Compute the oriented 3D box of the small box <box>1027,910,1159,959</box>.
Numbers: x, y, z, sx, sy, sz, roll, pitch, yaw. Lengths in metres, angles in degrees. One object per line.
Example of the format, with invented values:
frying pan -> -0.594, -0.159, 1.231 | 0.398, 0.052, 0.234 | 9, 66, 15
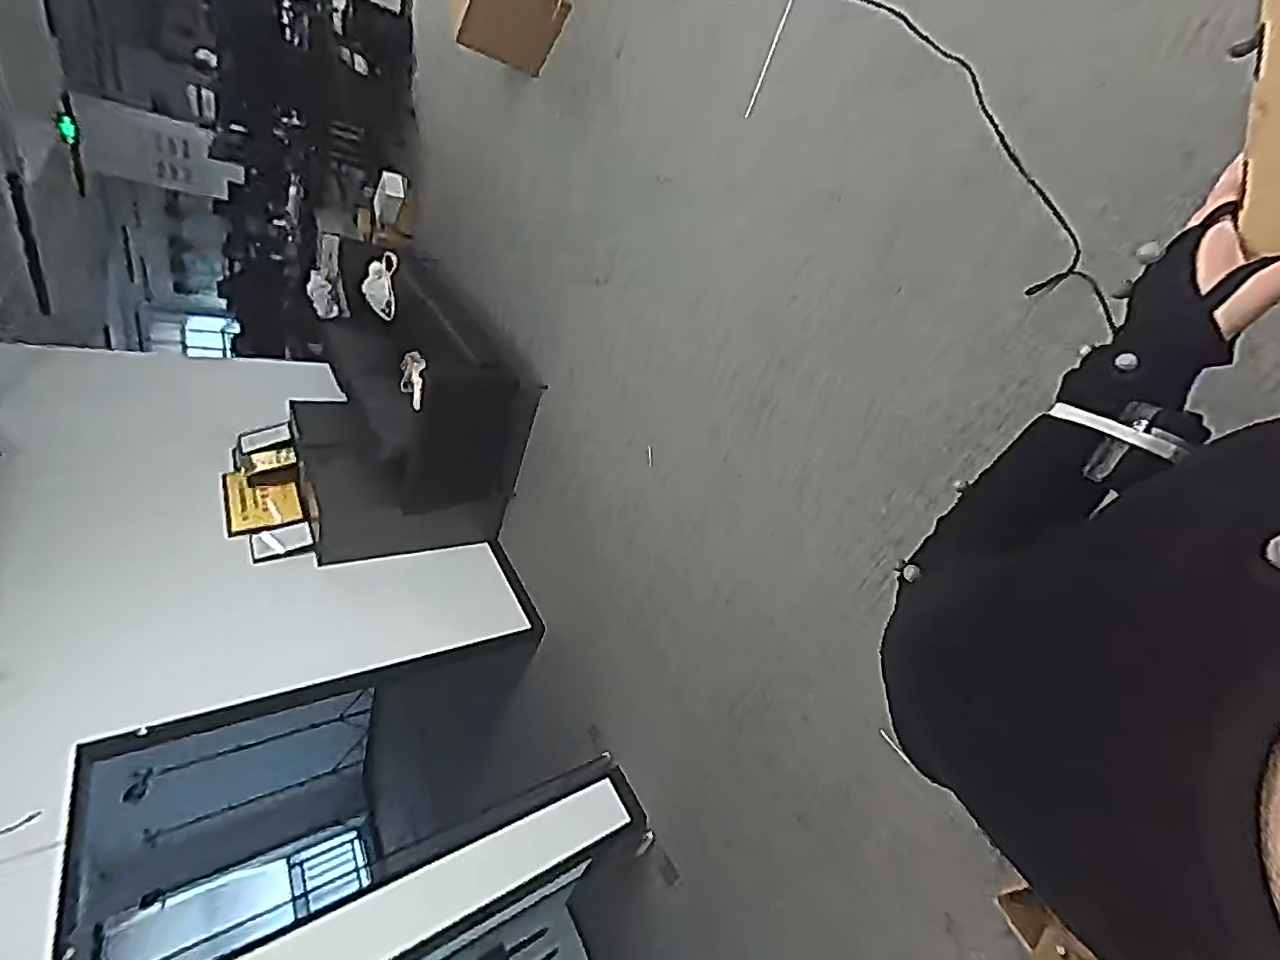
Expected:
small box -> 0.867, 0.954, 1.009 | 0.168, 0.176, 0.179 | 56, 131, 32
